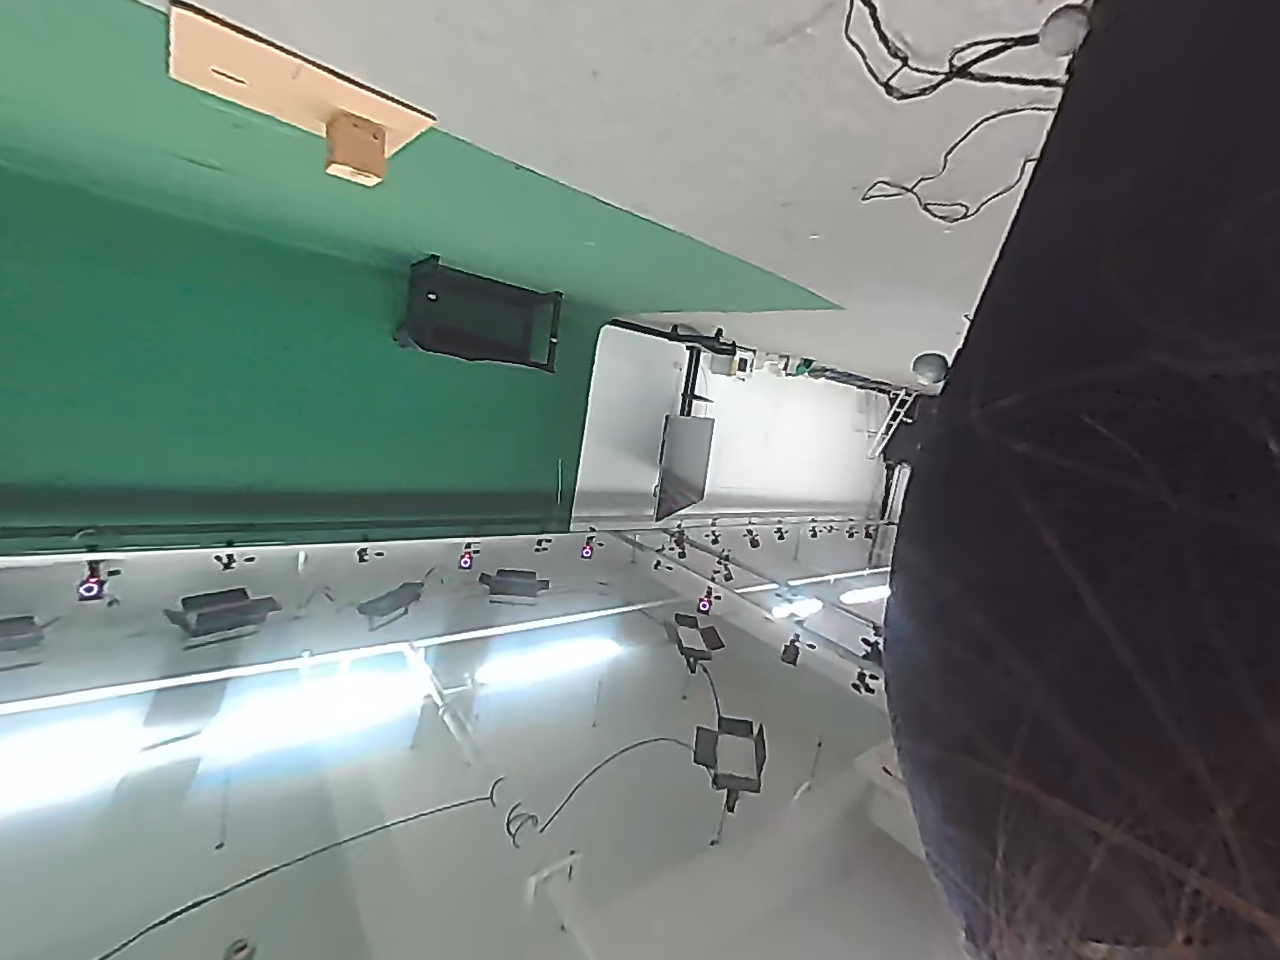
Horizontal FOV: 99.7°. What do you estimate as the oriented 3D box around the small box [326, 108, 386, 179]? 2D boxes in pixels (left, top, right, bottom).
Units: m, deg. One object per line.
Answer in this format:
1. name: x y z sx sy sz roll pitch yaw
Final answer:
1. small box: -1.064 -1.258 2.026 0.168 0.176 0.179 -1 -166 -42
